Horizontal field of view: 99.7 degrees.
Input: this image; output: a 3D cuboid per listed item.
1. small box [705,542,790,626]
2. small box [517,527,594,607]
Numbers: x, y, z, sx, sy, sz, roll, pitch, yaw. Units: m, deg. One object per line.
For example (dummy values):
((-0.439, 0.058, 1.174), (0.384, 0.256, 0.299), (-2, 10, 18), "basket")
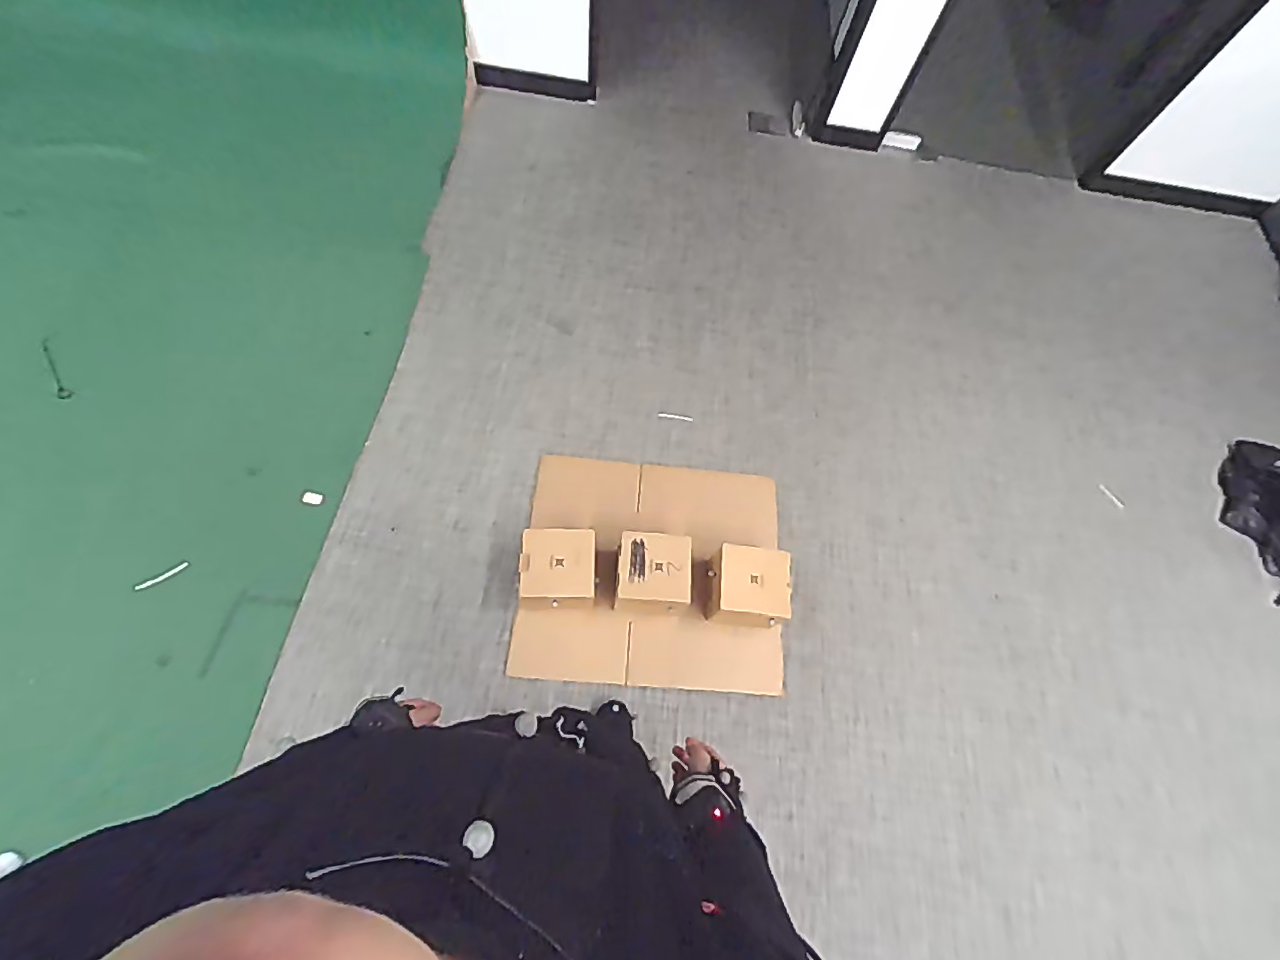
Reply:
((0.268, 0.268, 1.372), (0.179, 0.176, 0.168), (7, 66, -4), "small box")
((-0.205, 0.221, 1.340), (0.179, 0.176, 0.168), (1, 68, -7), "small box")
